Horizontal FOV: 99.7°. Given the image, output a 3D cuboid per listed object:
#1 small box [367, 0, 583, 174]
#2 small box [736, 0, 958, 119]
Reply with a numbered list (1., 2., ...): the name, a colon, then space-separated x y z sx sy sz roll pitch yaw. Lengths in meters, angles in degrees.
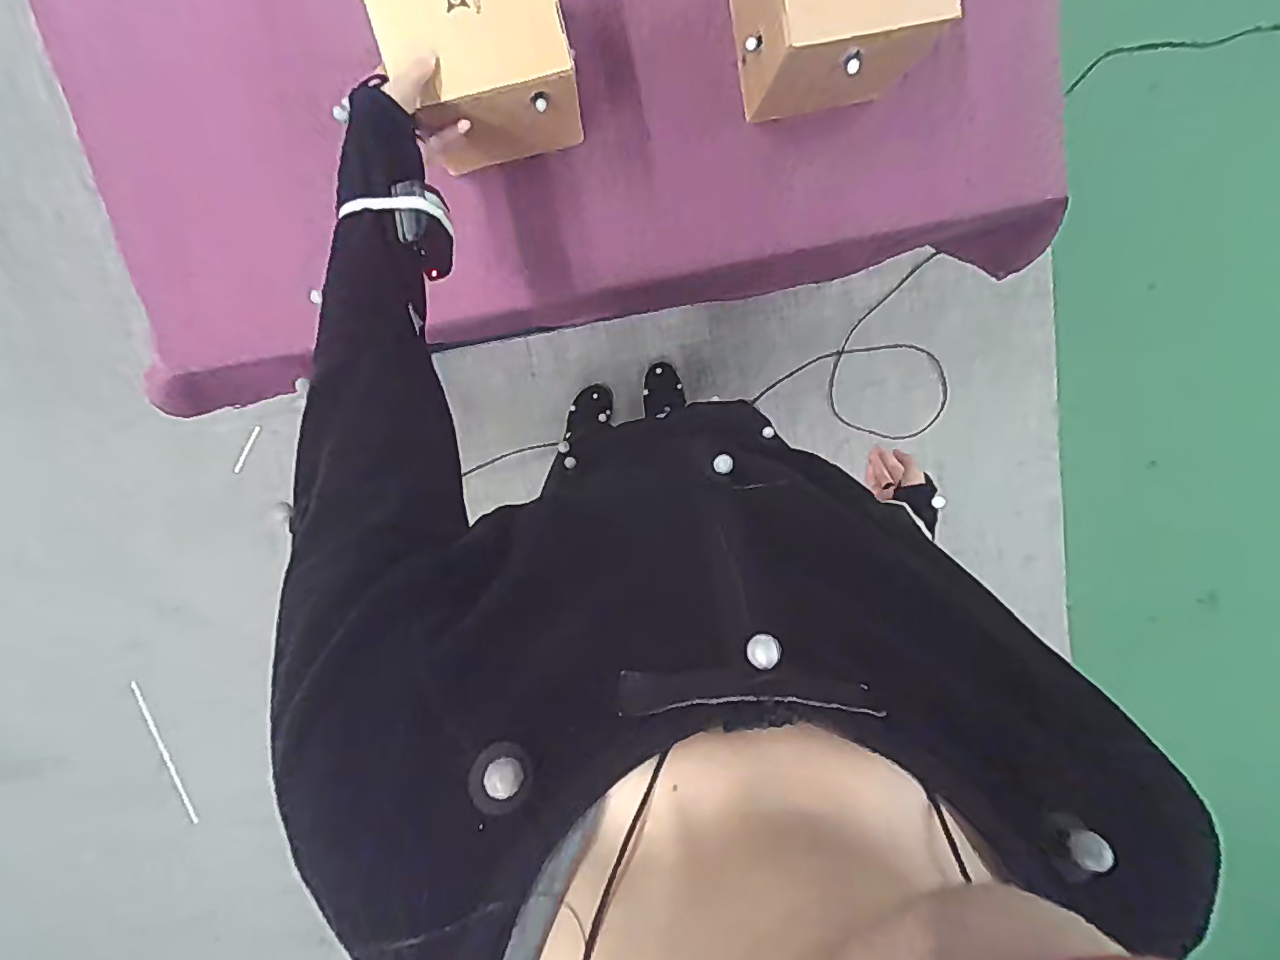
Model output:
1. small box: -0.169 -0.464 0.588 0.179 0.176 0.168 -16 101 0
2. small box: 0.209 -0.529 0.591 0.179 0.176 0.168 -11 102 -1
